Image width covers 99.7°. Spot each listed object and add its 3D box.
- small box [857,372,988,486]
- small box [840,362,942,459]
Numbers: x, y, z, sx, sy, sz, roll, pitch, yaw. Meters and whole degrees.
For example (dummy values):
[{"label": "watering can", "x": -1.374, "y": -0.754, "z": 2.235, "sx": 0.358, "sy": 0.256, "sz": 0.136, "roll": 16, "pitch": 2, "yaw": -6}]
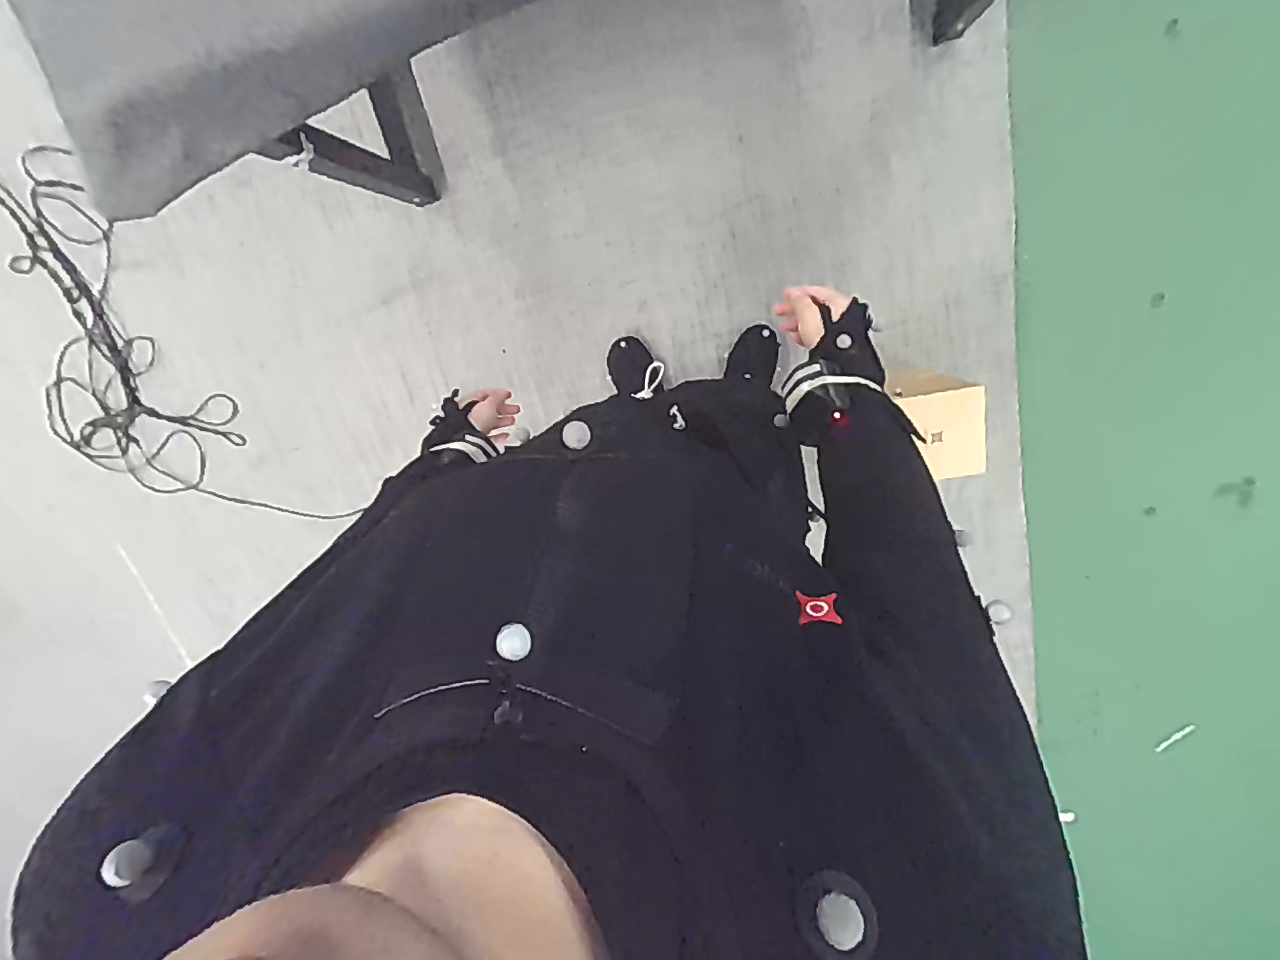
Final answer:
[{"label": "small box", "x": 0.536, "y": -0.104, "z": 1.043, "sx": 0.179, "sy": 0.176, "sz": 0.168, "roll": -9, "pitch": 107, "yaw": 9}, {"label": "small box", "x": 0.550, "y": -0.158, "z": 1.197, "sx": 0.179, "sy": 0.176, "sz": 0.168, "roll": -11, "pitch": 107, "yaw": 11}]
